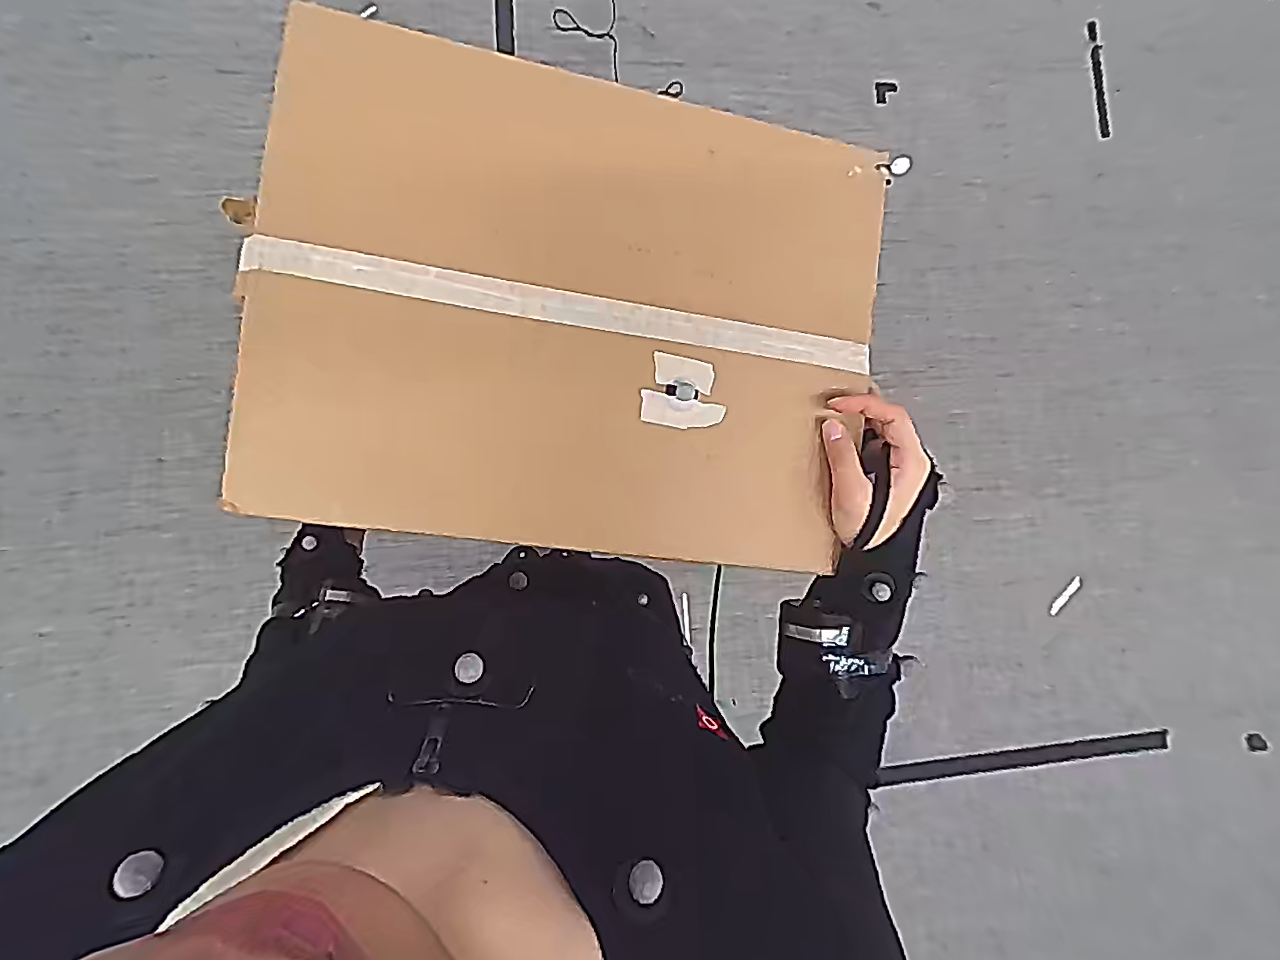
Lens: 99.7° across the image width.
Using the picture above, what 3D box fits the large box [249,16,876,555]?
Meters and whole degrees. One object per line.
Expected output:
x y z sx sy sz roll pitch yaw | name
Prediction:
-0.059 -0.115 0.512 0.408 0.320 0.320 7 89 -12 | large box
